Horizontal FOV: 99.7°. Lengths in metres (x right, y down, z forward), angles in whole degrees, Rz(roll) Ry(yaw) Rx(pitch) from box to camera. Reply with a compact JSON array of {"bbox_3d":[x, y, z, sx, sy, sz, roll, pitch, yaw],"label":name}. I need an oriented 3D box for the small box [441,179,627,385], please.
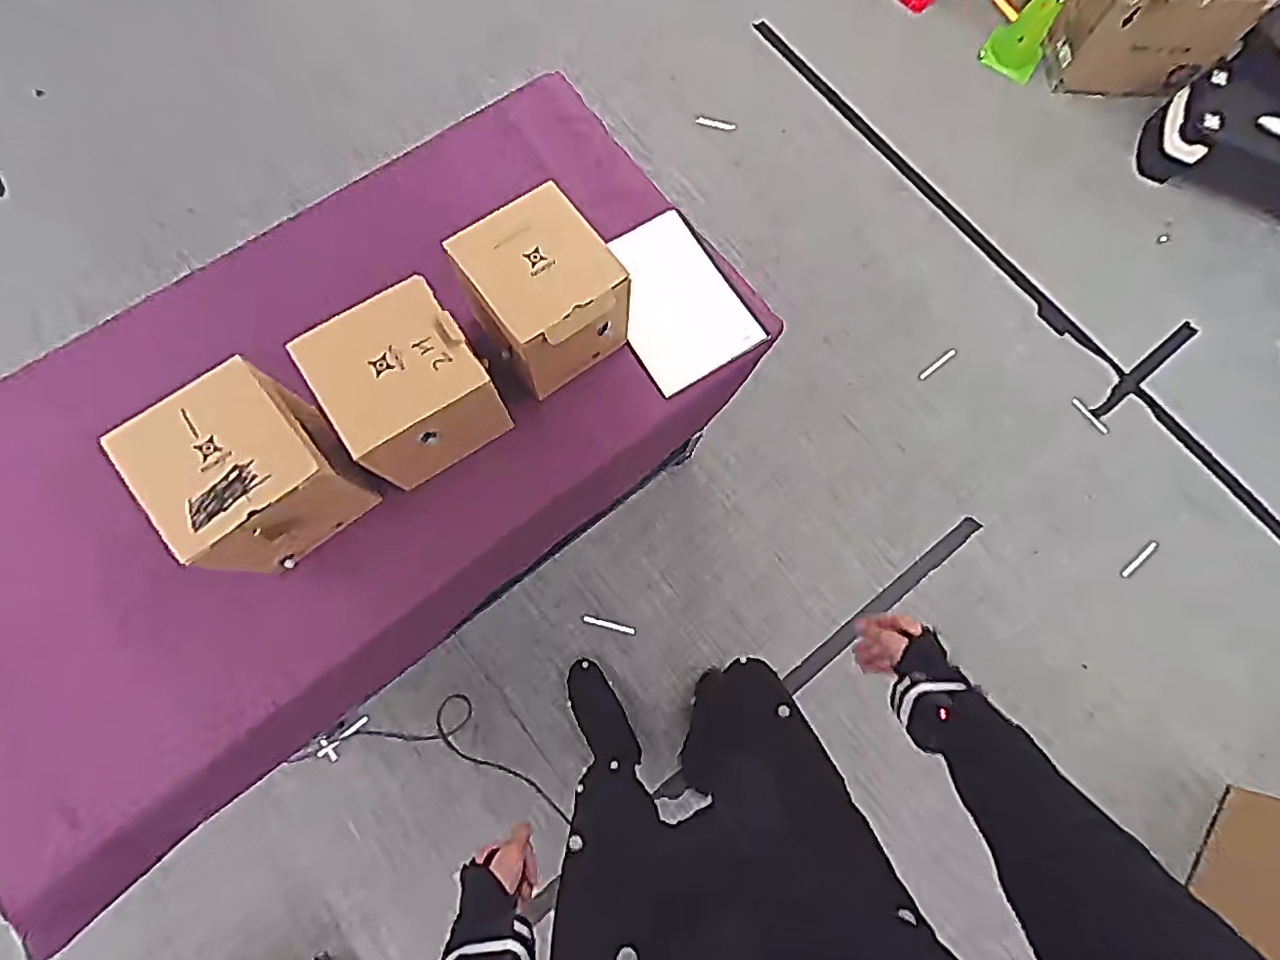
[{"bbox_3d":[-0.132,-0.252,0.736,0.168,0.176,0.179,-36,81,-11],"label":"small box"}]
